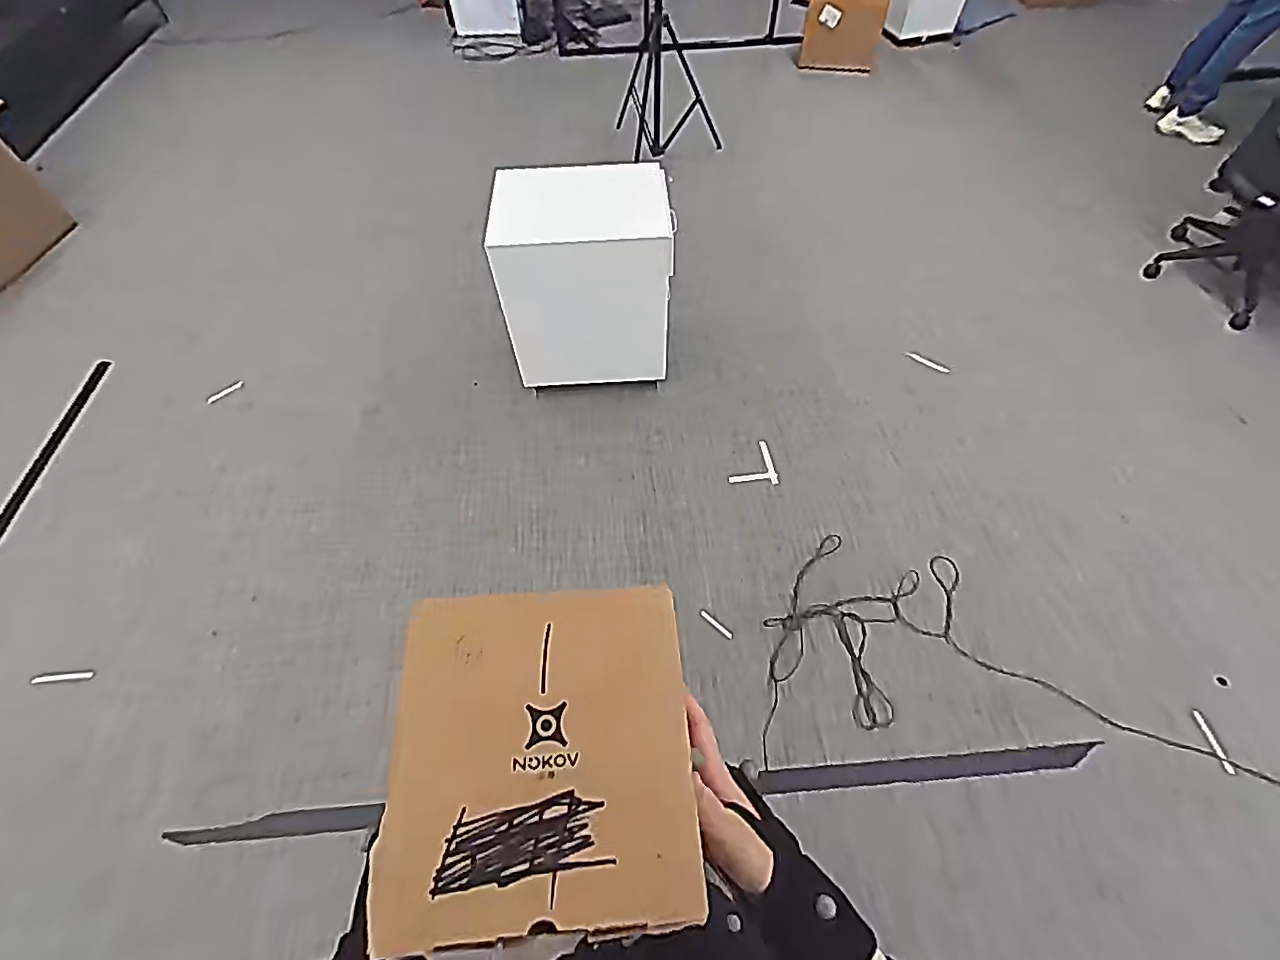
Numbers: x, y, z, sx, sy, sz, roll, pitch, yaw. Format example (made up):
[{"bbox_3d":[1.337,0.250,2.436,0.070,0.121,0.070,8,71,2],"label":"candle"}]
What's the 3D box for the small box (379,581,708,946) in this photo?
[{"bbox_3d":[-0.055,0.183,0.374,0.168,0.176,0.179,-2,60,-5],"label":"small box"}]
